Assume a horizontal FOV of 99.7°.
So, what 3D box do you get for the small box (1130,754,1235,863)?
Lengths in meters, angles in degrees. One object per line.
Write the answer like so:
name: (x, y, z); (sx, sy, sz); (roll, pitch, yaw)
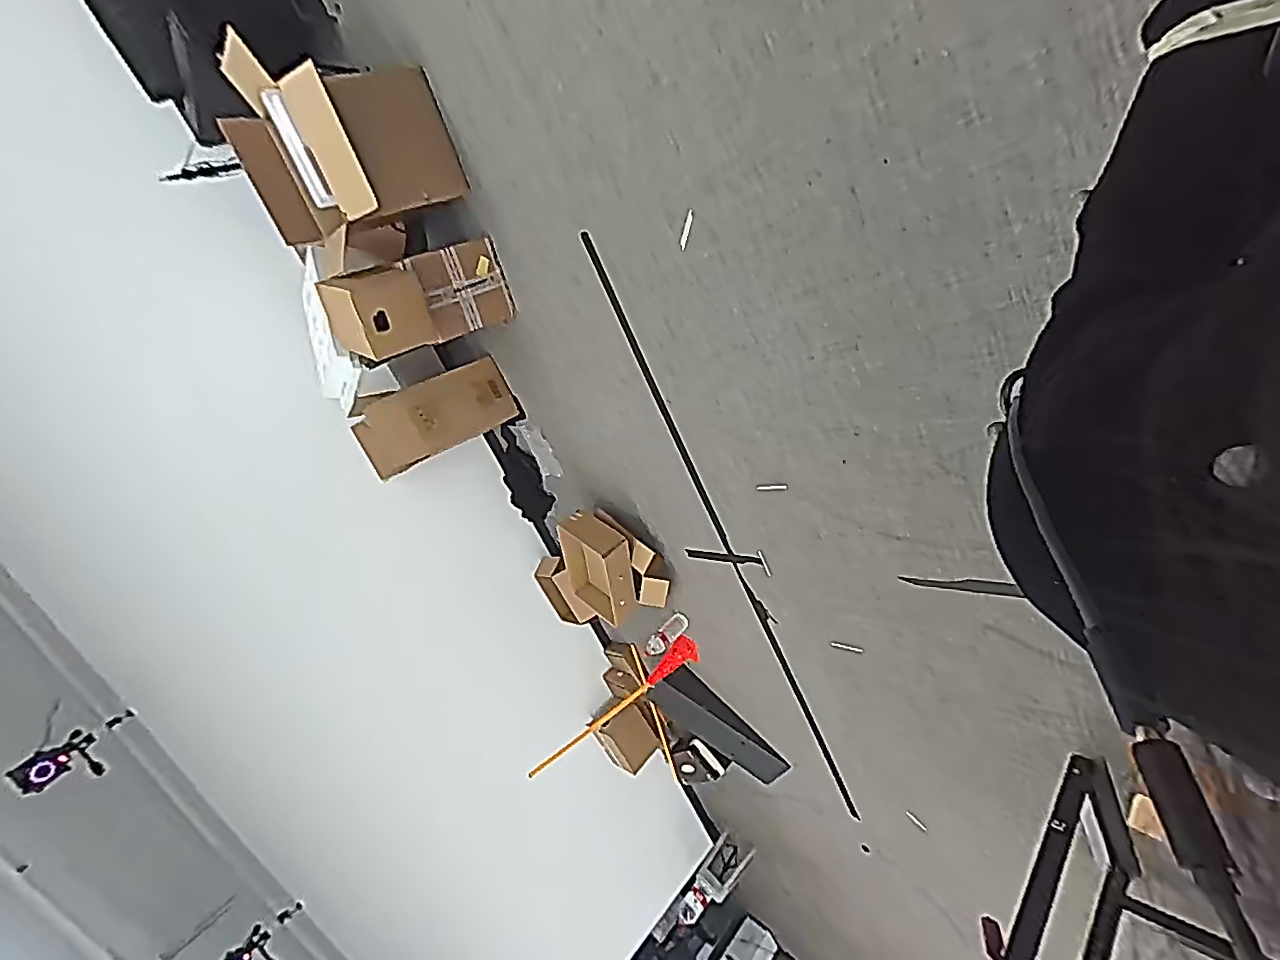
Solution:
small box: (1.532, 0.914, 1.529); (0.179, 0.176, 0.168); (16, 131, 44)
